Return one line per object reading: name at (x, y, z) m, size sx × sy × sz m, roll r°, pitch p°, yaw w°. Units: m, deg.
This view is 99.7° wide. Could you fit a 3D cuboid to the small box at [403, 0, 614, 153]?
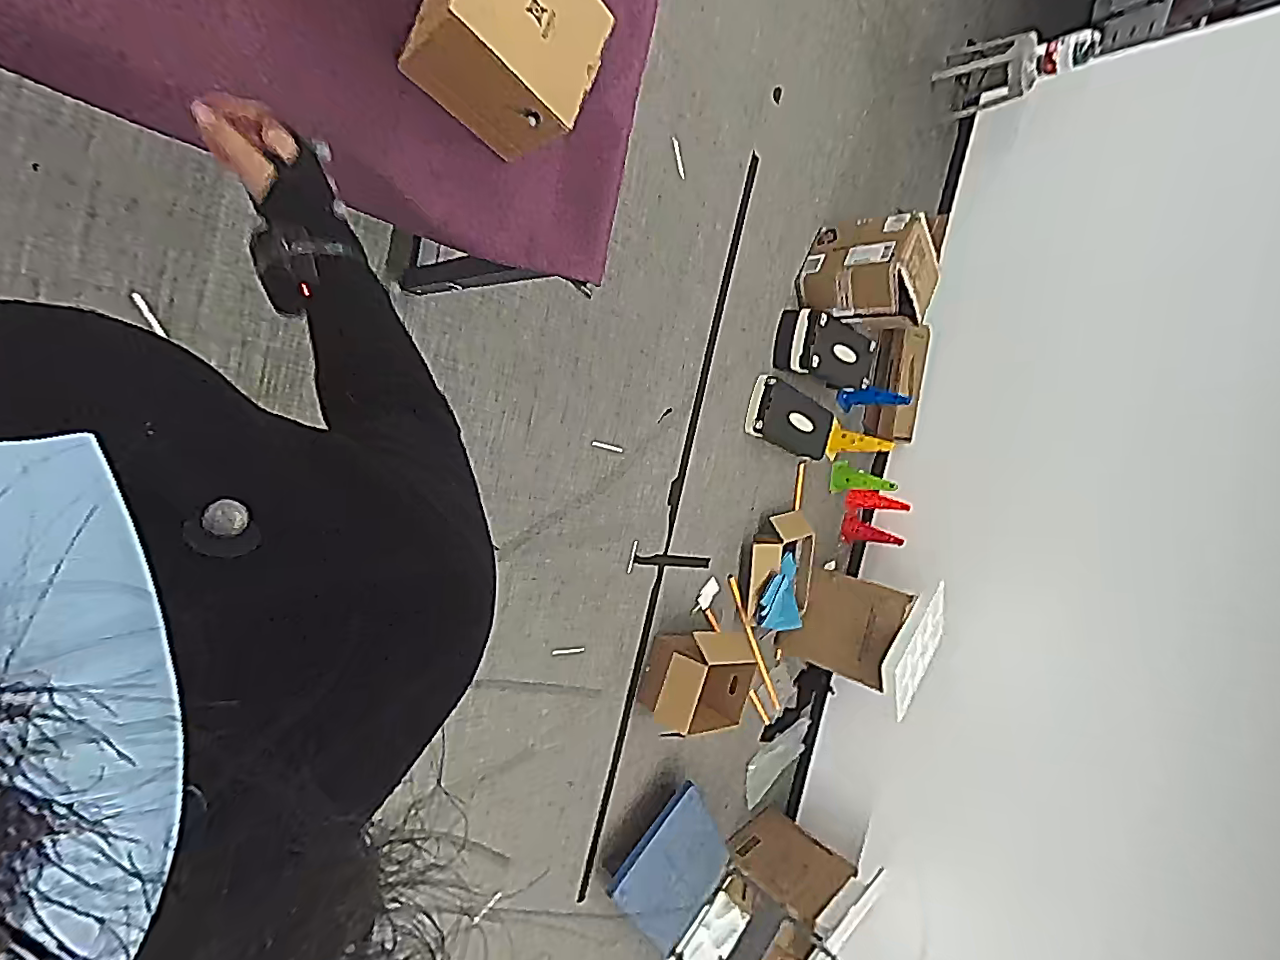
small box at (-0.170, -0.557, 0.690) m, size 0.179 × 0.176 × 0.168 m, roll 24°, pitch 84°, yaw -45°
